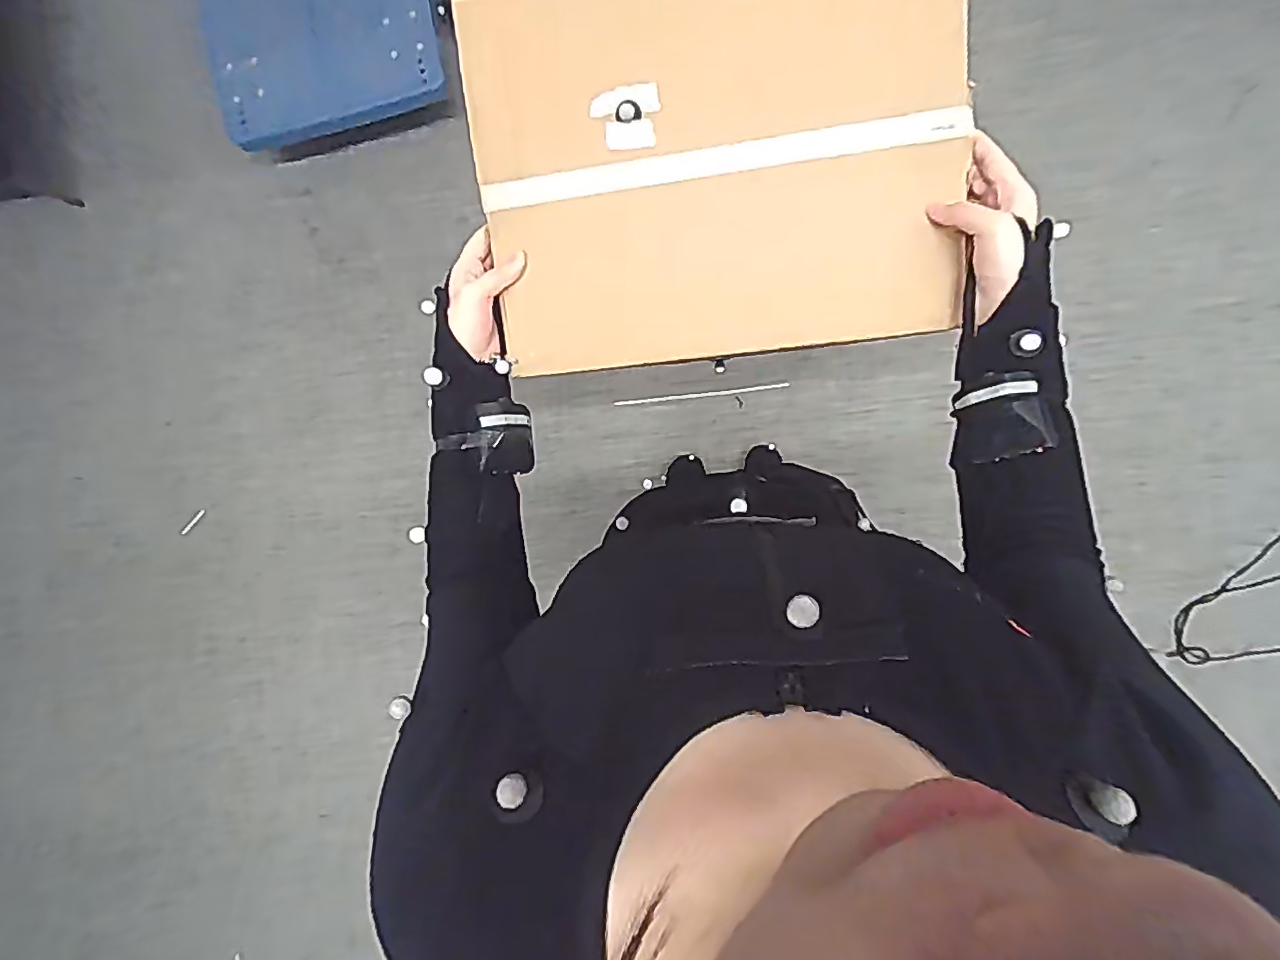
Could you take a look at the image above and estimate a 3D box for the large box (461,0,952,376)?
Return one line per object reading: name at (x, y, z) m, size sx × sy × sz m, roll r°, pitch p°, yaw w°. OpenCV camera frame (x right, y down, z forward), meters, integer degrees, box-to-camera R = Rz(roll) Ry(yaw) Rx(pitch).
large box at (0.077, -0.305, 0.612) m, size 0.408 × 0.320 × 0.320 m, roll -5°, pitch 102°, yaw 9°
